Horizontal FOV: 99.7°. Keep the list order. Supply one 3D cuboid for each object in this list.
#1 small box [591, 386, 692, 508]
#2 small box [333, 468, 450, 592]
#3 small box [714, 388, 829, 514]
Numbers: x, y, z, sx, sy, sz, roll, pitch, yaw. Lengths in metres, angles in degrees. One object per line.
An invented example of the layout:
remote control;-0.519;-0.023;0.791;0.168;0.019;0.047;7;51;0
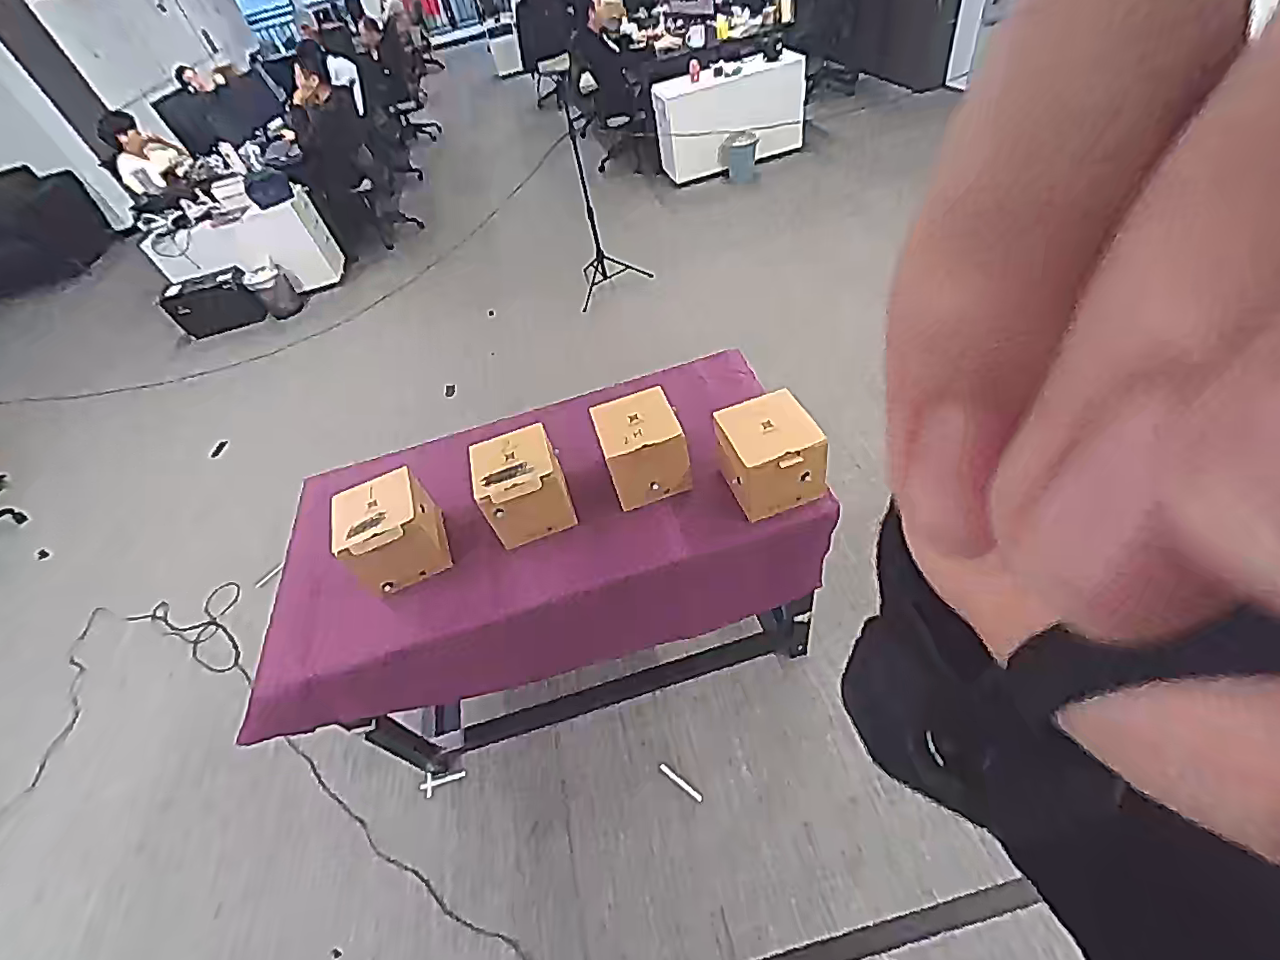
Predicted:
small box;0.005;-0.069;1.179;0.168;0.176;0.179;-19;48;-2
small box;-0.522;0.113;1.147;0.168;0.176;0.179;-24;47;-9
small box;0.264;-0.052;1.098;0.168;0.176;0.179;-19;46;-3
